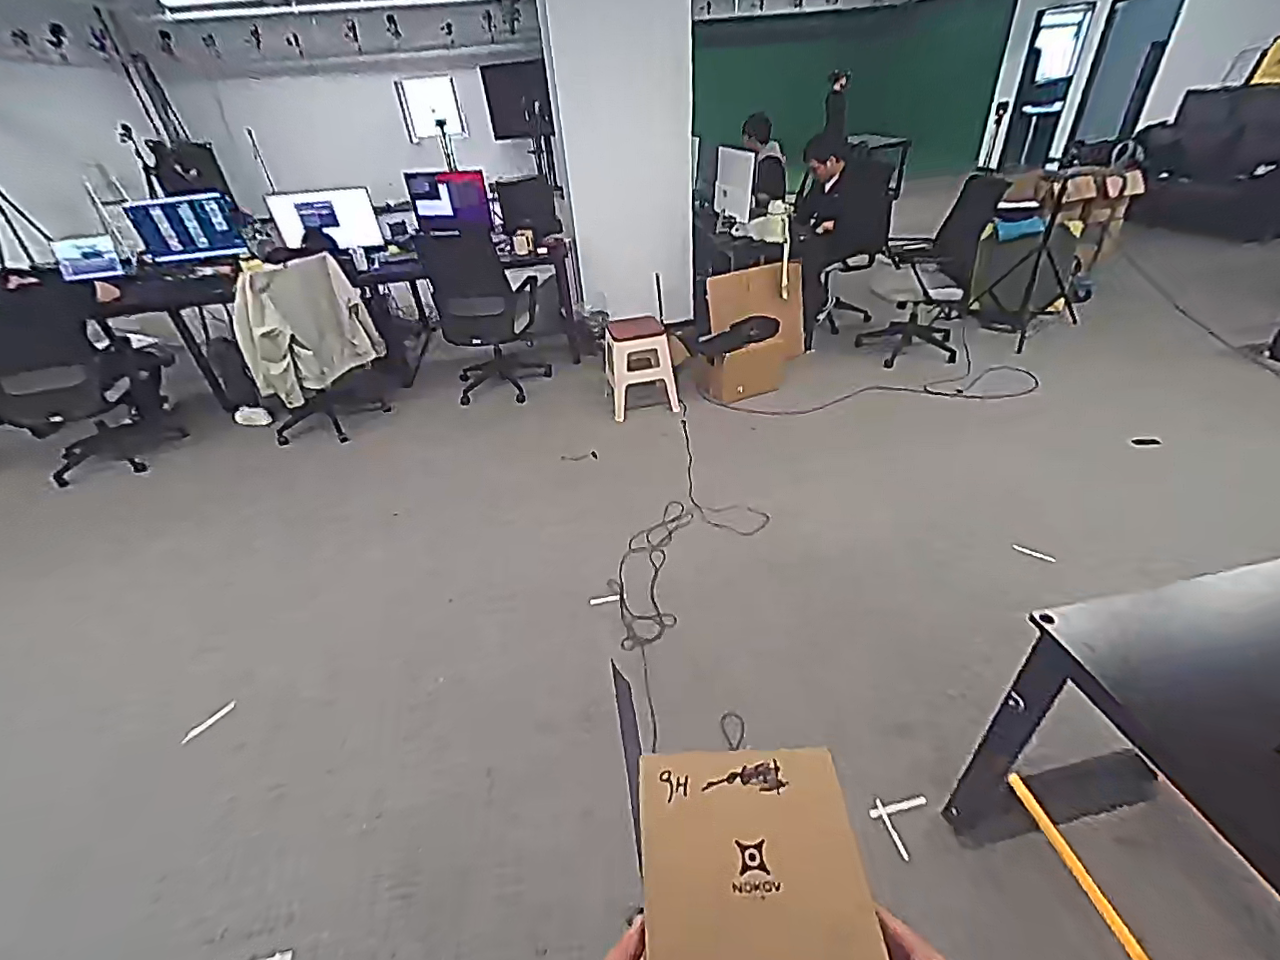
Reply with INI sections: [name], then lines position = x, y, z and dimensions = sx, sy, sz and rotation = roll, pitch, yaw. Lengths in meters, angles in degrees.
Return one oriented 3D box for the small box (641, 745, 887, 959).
[small box]
position = 0.087, 0.350, 0.459
dimensions = 0.168, 0.176, 0.179
rotation = -2, 42, -1
